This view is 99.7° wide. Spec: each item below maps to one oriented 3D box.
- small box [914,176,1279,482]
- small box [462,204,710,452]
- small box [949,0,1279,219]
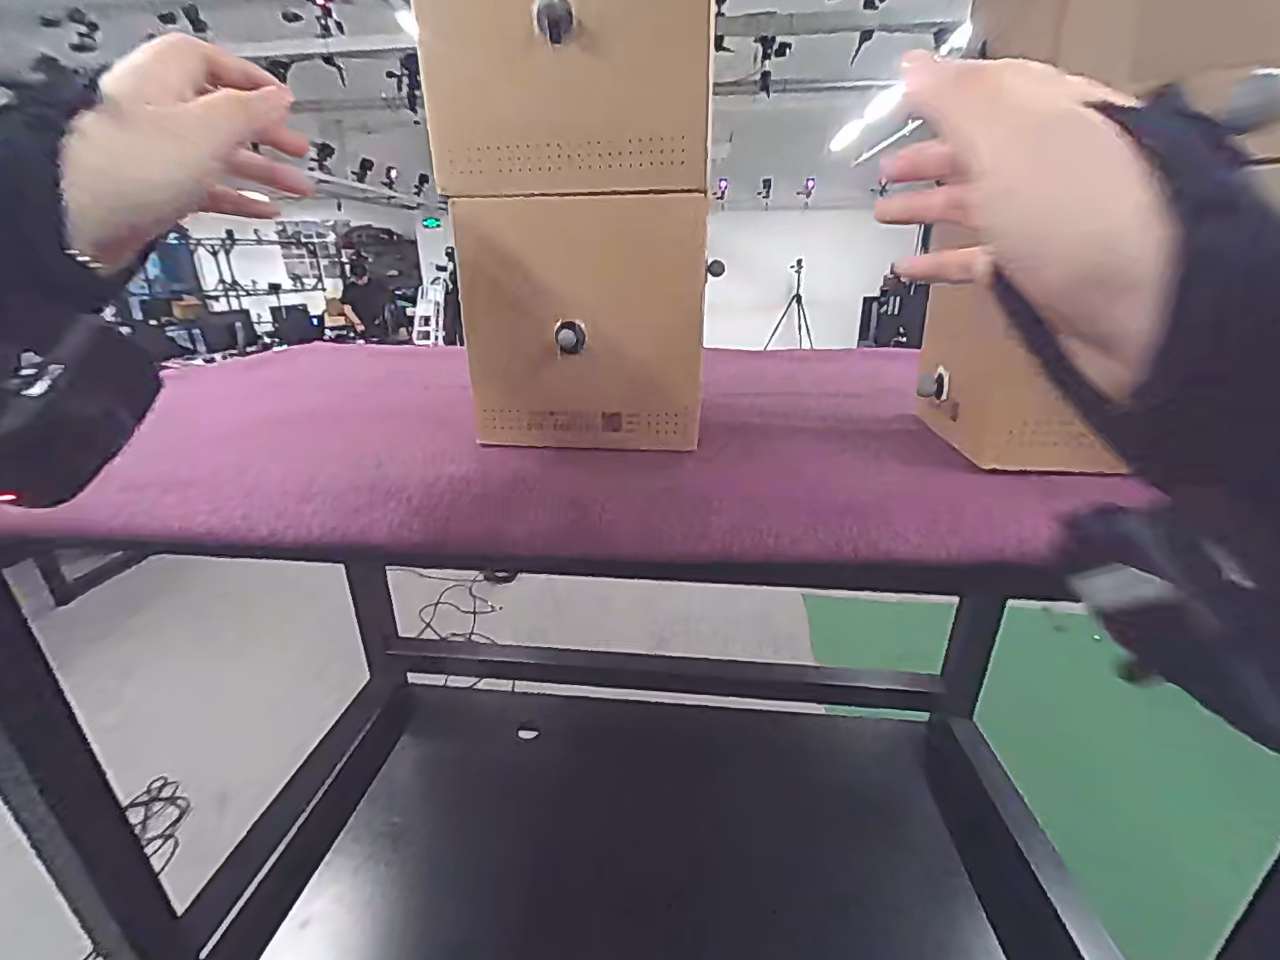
[{"bbox_3d":[0.315,-0.100,0.379,0.179,0.176,0.168,1,18,11],"label":"small box"},{"bbox_3d":[-0.027,-0.126,0.452,0.168,0.176,0.179,3,21,6],"label":"small box"},{"bbox_3d":[0.310,-0.257,0.334,0.179,0.176,0.168,4,19,14],"label":"small box"}]
